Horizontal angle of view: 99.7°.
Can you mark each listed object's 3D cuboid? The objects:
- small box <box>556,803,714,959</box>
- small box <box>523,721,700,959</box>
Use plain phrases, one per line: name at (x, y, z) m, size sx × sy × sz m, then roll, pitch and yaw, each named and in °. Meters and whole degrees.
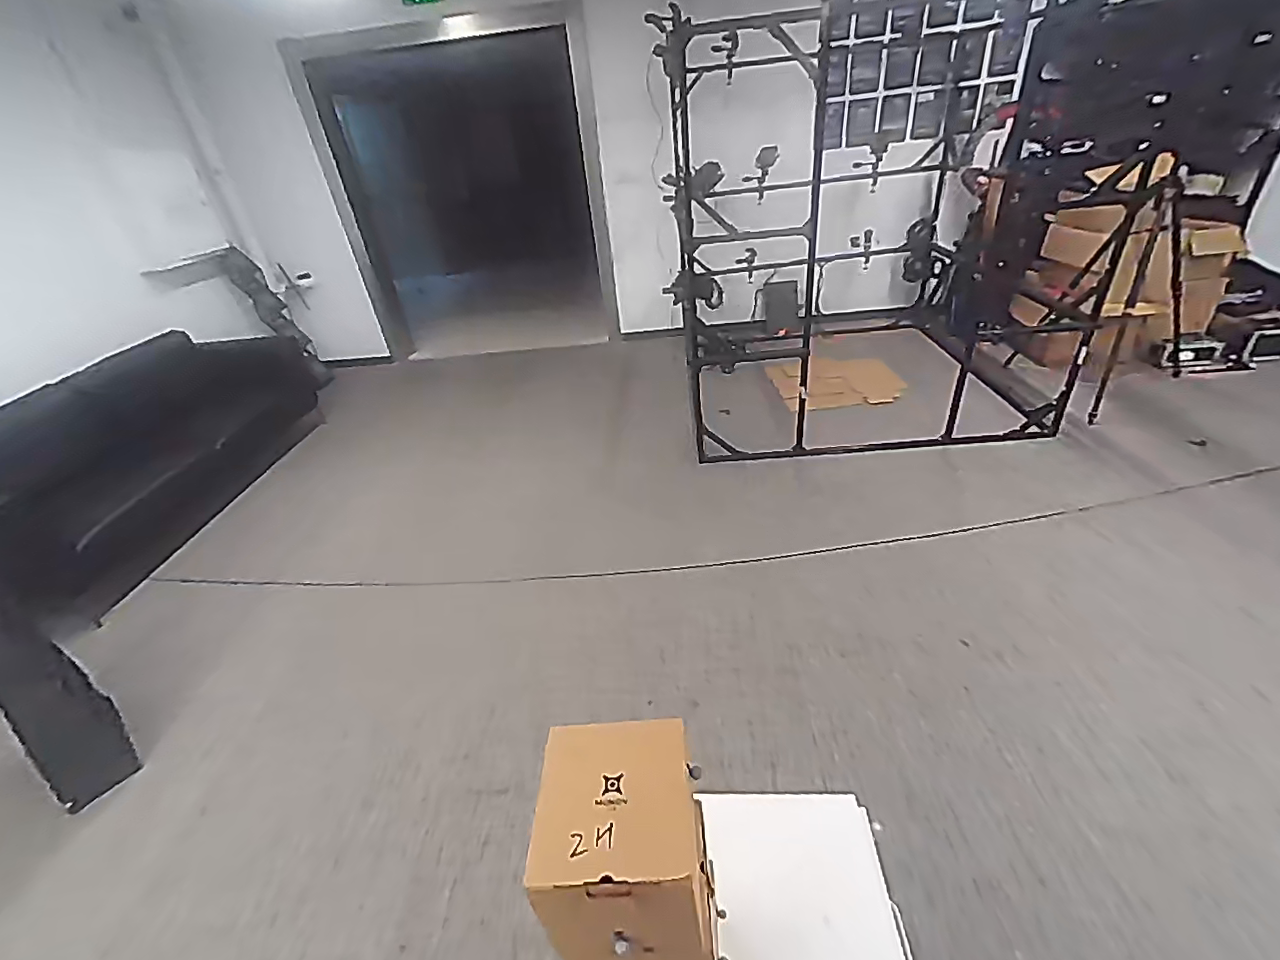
small box at (0.003, 0.551, 0.703) m, size 0.179 × 0.176 × 0.168 m, roll -6°, pitch 31°, yaw 4°
small box at (-0.022, 0.409, 0.623) m, size 0.168 × 0.176 × 0.179 m, roll -6°, pitch 31°, yaw 5°
